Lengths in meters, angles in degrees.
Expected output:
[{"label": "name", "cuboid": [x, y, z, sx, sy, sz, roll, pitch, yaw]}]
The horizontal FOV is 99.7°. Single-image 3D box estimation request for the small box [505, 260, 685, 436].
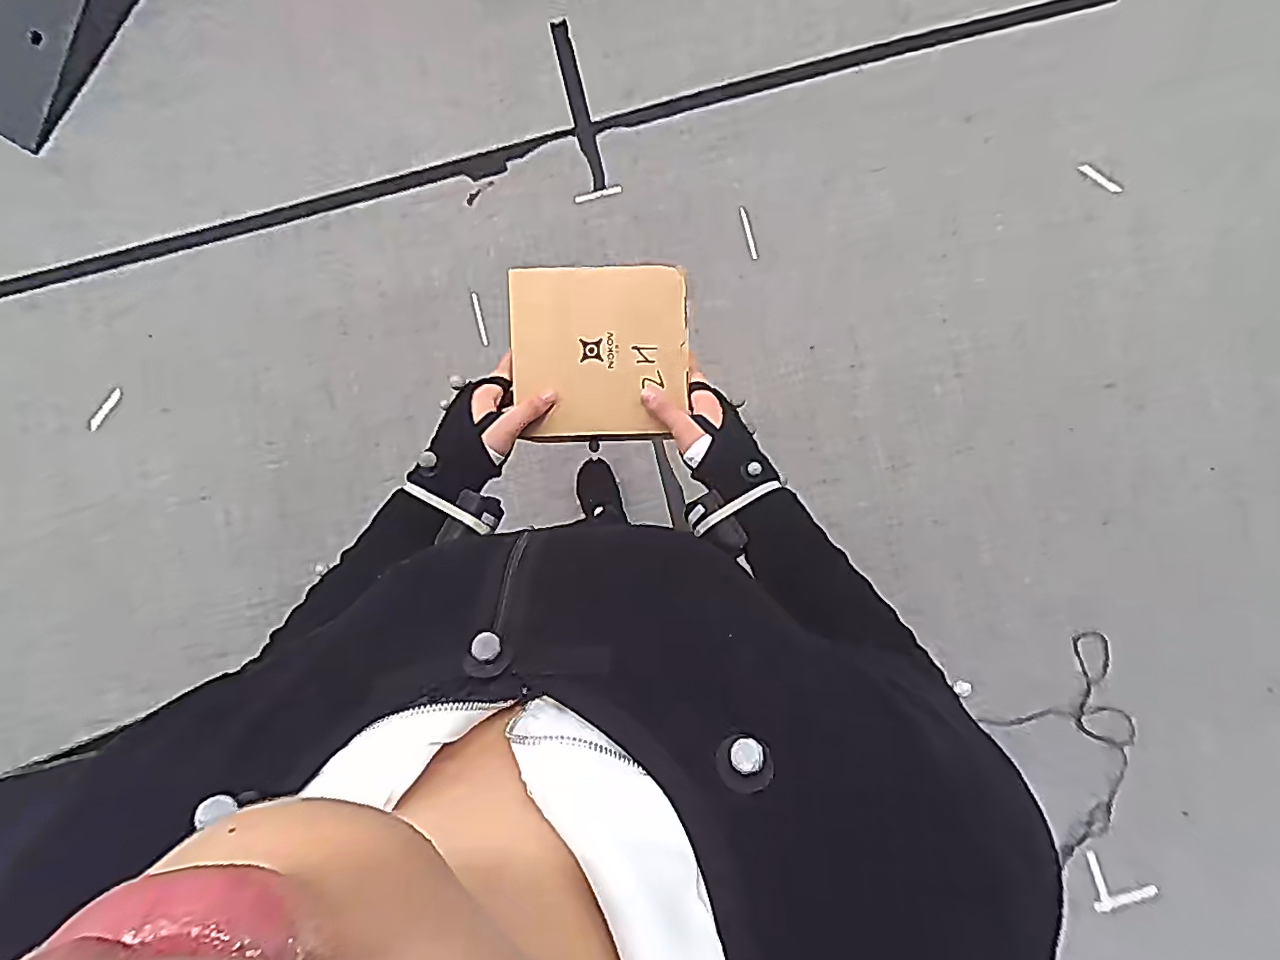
[{"label": "small box", "cuboid": [-0.046, -0.136, 0.610, 0.179, 0.176, 0.168, -2, 93, -3]}]
